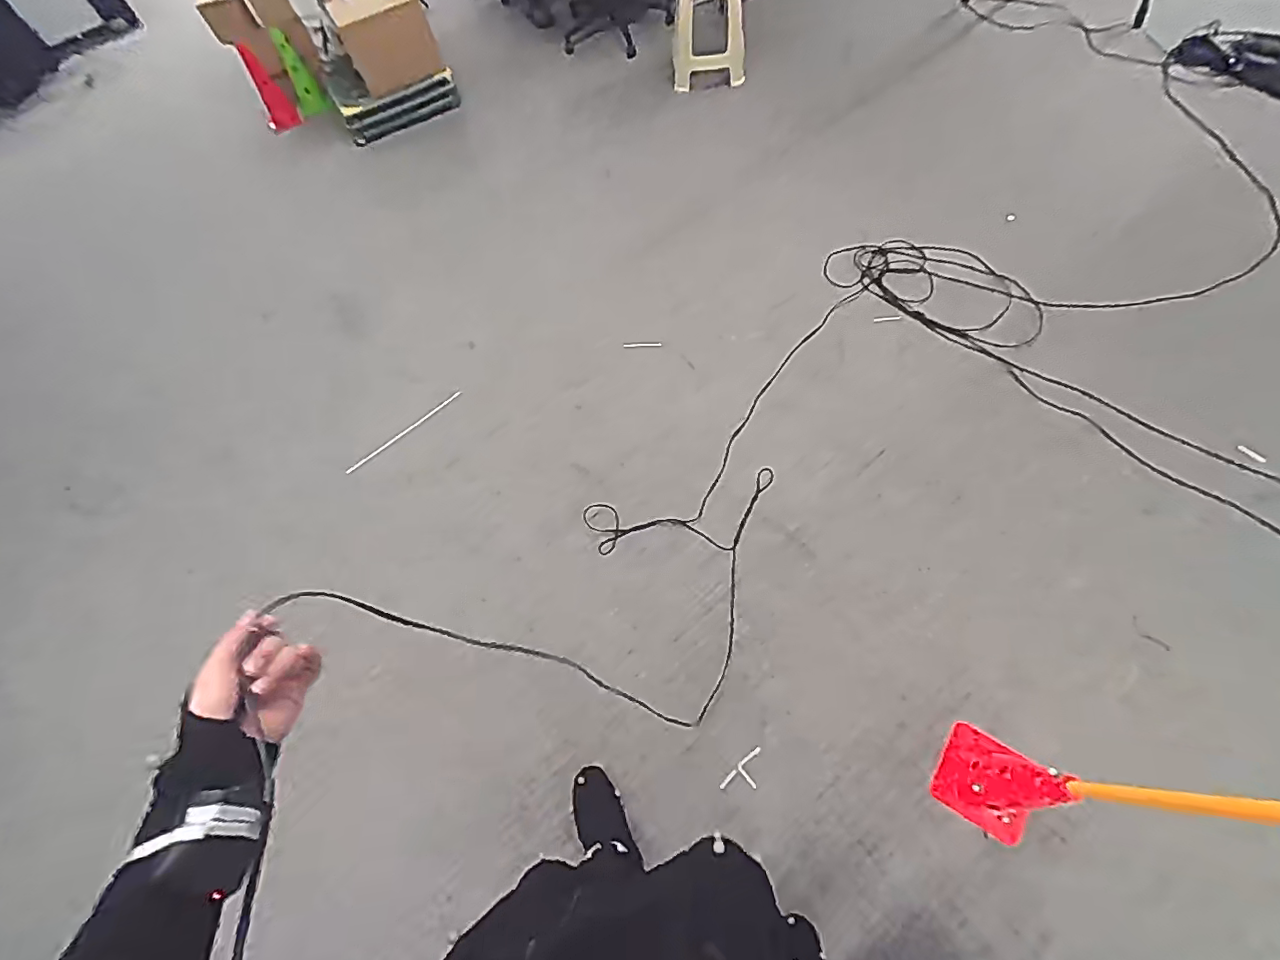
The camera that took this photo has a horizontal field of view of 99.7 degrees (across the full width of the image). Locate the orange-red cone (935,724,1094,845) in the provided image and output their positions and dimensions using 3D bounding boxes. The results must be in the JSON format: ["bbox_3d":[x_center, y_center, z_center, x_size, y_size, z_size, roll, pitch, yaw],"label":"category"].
[{"bbox_3d":[0.803,0.629,1.119,0.198,0.360,0.199,30,69,19],"label":"orange-red cone"}]
